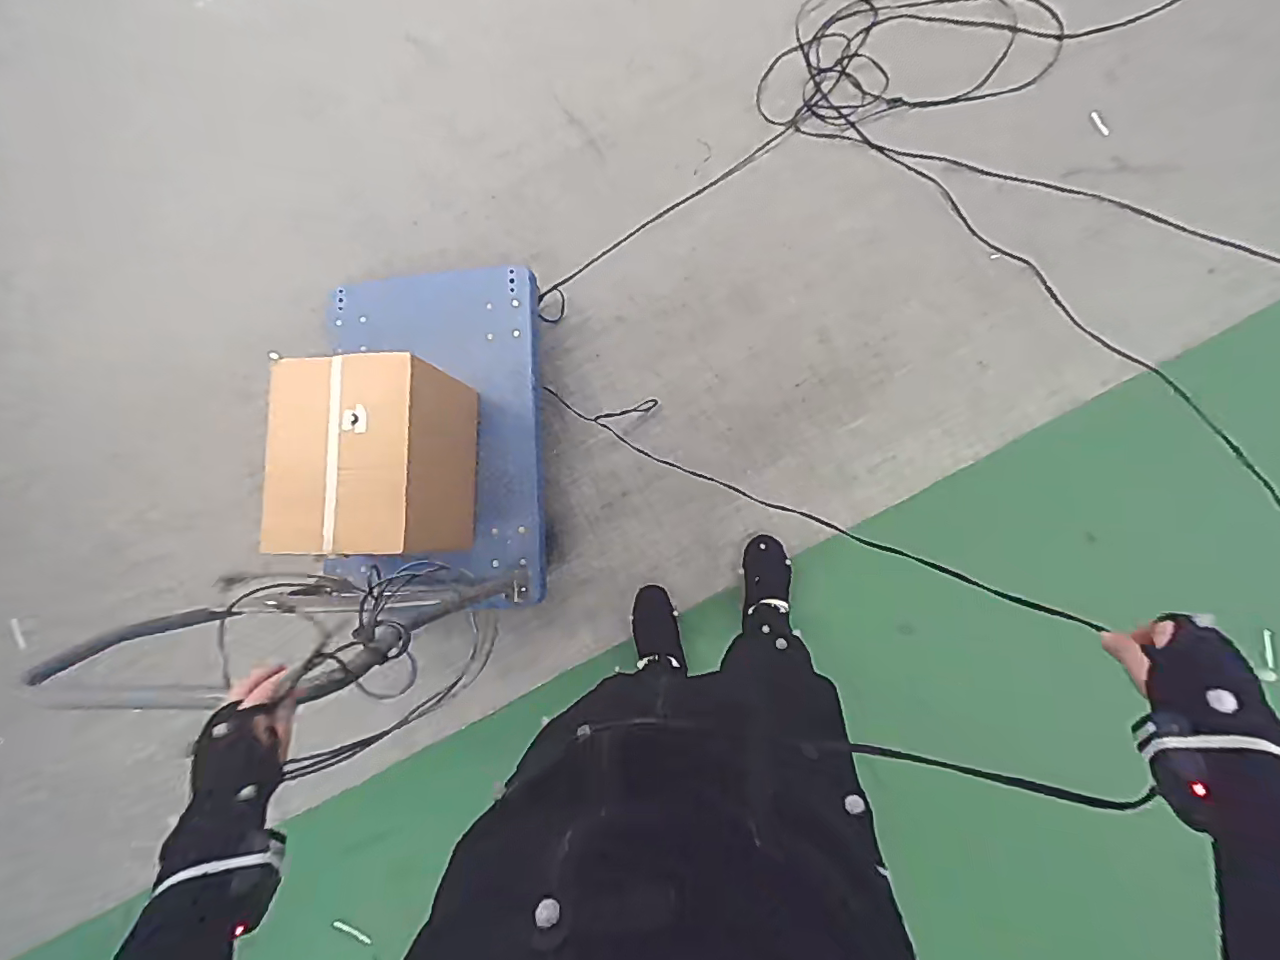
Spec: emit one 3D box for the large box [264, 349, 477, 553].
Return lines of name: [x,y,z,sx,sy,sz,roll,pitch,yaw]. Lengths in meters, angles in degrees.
large box: [-0.575,-0.042,1.214,0.320,0.320,0.408,-1,84,7]
